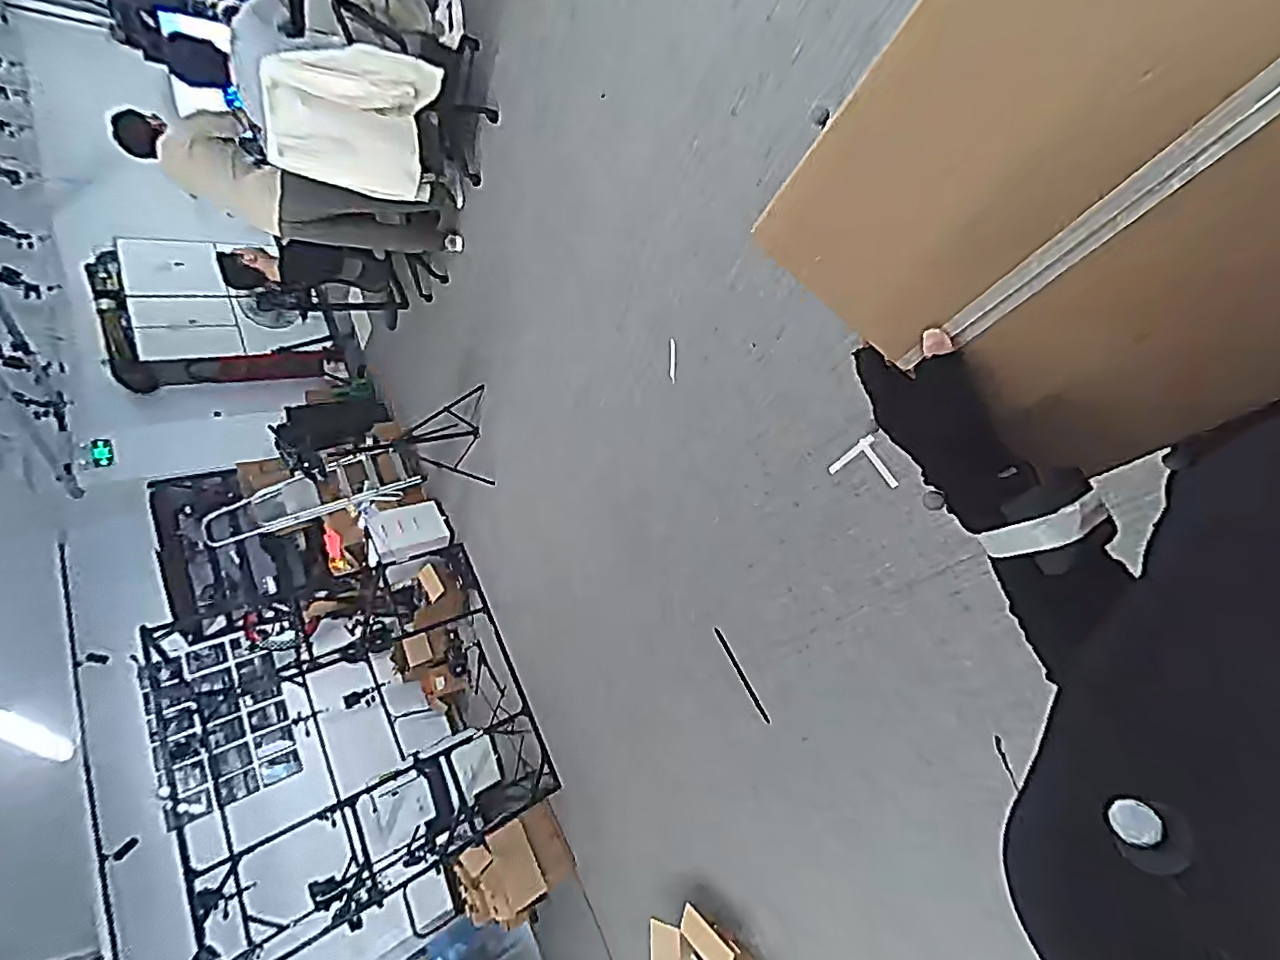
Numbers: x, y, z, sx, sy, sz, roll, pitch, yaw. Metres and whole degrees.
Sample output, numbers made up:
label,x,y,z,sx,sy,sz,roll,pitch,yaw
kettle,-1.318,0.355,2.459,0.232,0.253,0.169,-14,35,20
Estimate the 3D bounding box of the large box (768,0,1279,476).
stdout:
label,x,y,z,sx,sy,sz,roll,pitch,yaw
large box,0.362,-0.279,0.361,0.320,0.320,0.408,38,142,-5
